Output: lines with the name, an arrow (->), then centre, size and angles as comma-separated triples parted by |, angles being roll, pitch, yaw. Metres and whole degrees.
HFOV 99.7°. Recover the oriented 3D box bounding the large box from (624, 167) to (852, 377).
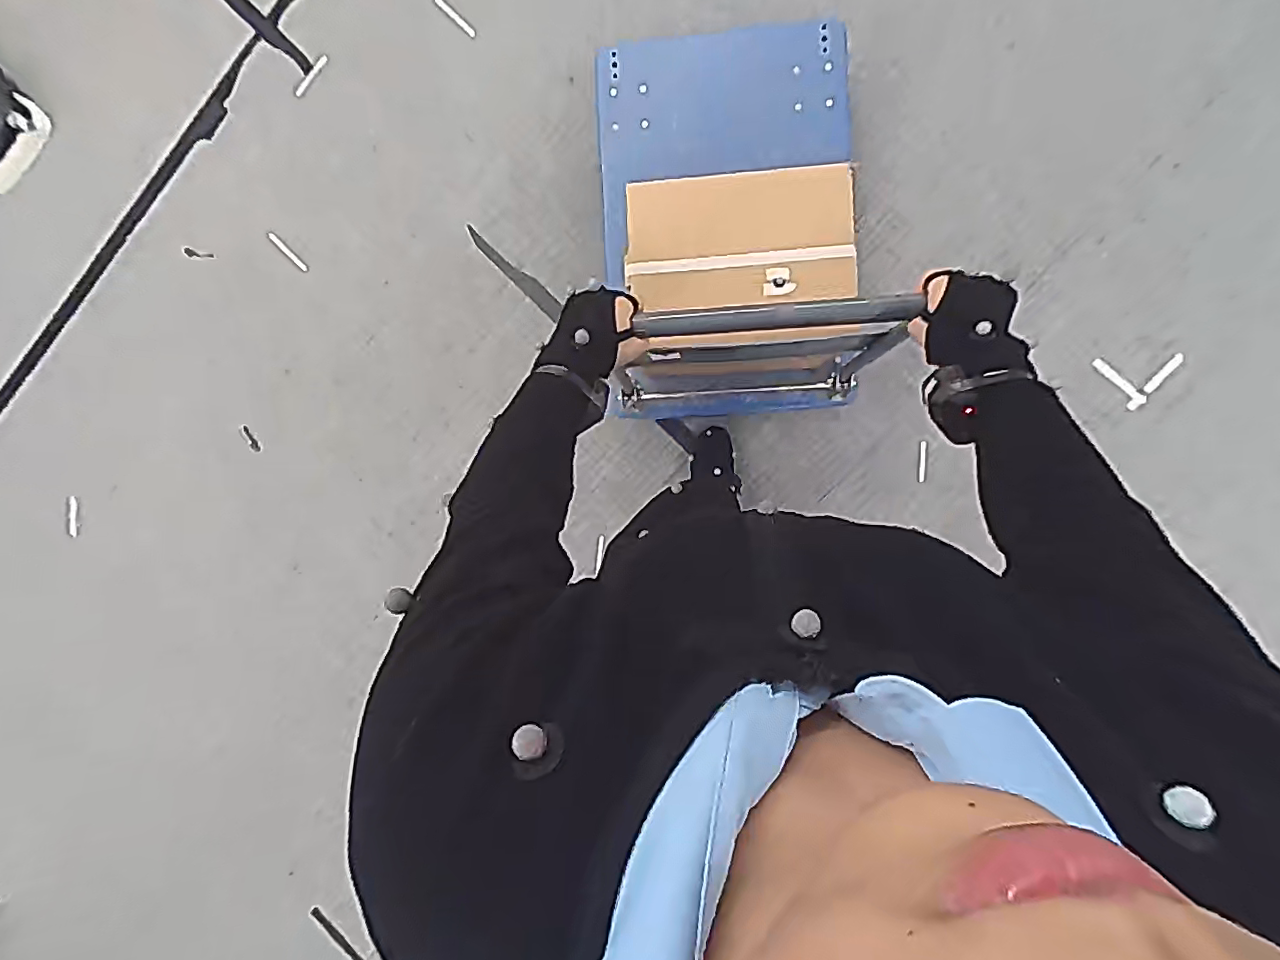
large box -> 0.185, -0.401, 1.129 | 0.408, 0.320, 0.320 | -2, 94, 4
